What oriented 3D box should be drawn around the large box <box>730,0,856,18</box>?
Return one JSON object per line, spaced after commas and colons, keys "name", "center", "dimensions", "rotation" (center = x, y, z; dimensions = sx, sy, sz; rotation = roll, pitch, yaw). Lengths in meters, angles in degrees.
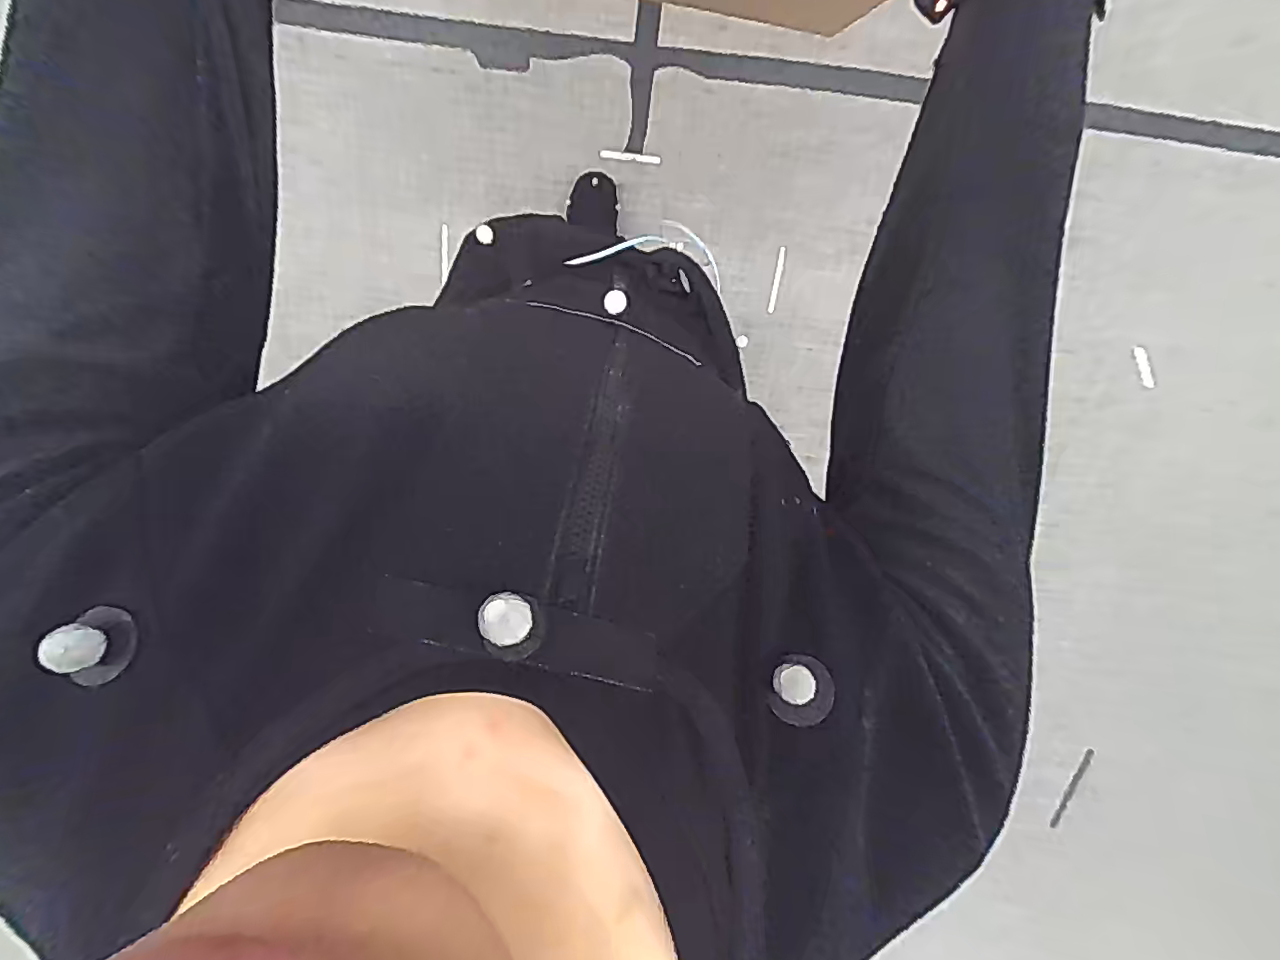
{"name": "large box", "center": [0.037, -0.578, 0.374], "dimensions": [0.408, 0.320, 0.320], "rotation": [10, 120, -3]}
